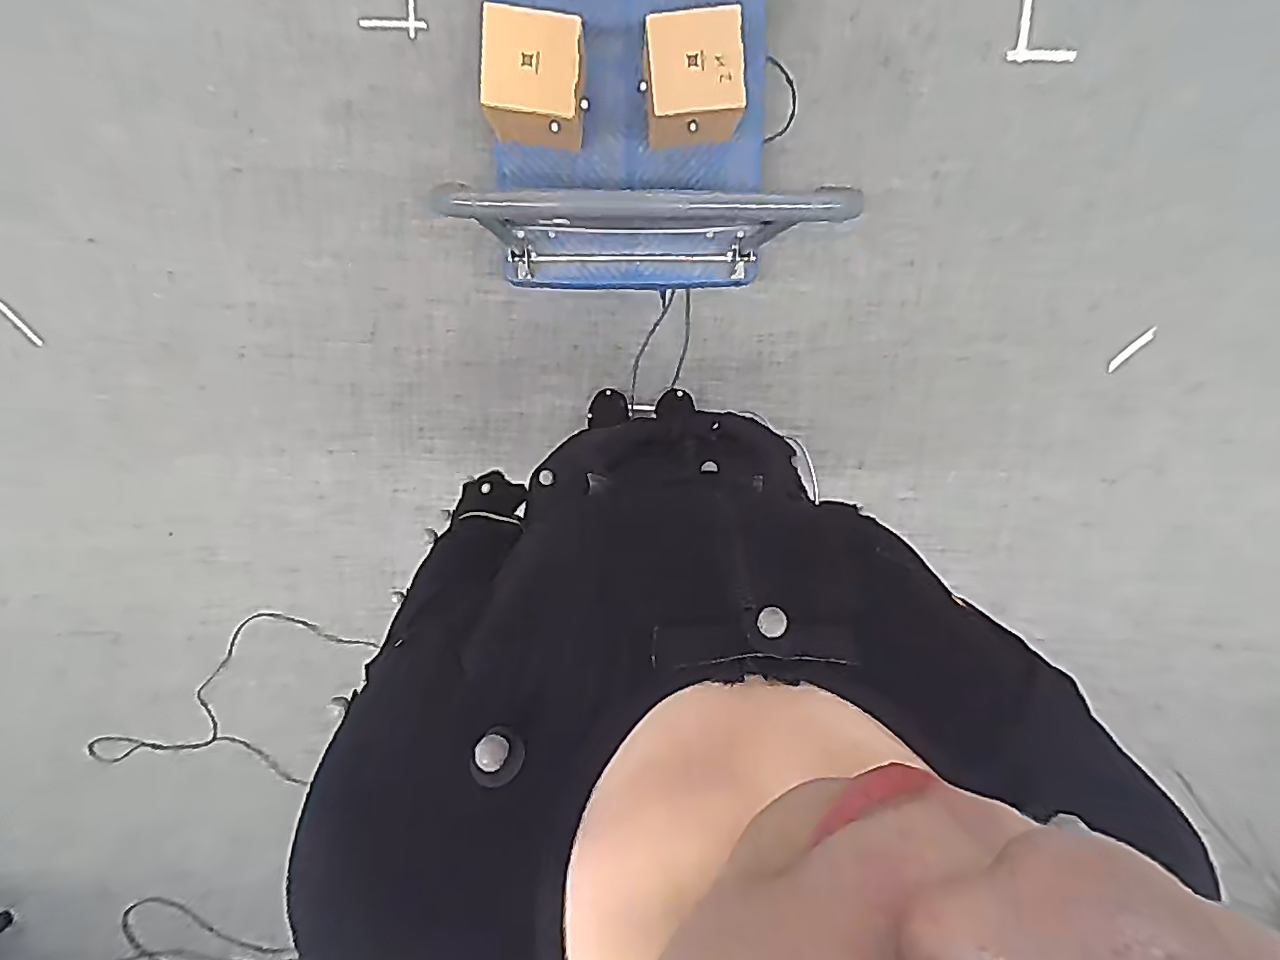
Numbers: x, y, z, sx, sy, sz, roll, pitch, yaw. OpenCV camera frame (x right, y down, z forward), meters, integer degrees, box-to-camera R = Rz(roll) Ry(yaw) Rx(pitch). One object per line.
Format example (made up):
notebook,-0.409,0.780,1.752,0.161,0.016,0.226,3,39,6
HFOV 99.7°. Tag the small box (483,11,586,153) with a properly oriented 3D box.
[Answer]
small box,-0.203,-0.774,1.072,0.179,0.176,0.168,5,101,-5

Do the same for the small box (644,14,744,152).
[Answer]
small box,0.101,-0.781,1.081,0.179,0.176,0.168,-6,102,-1
